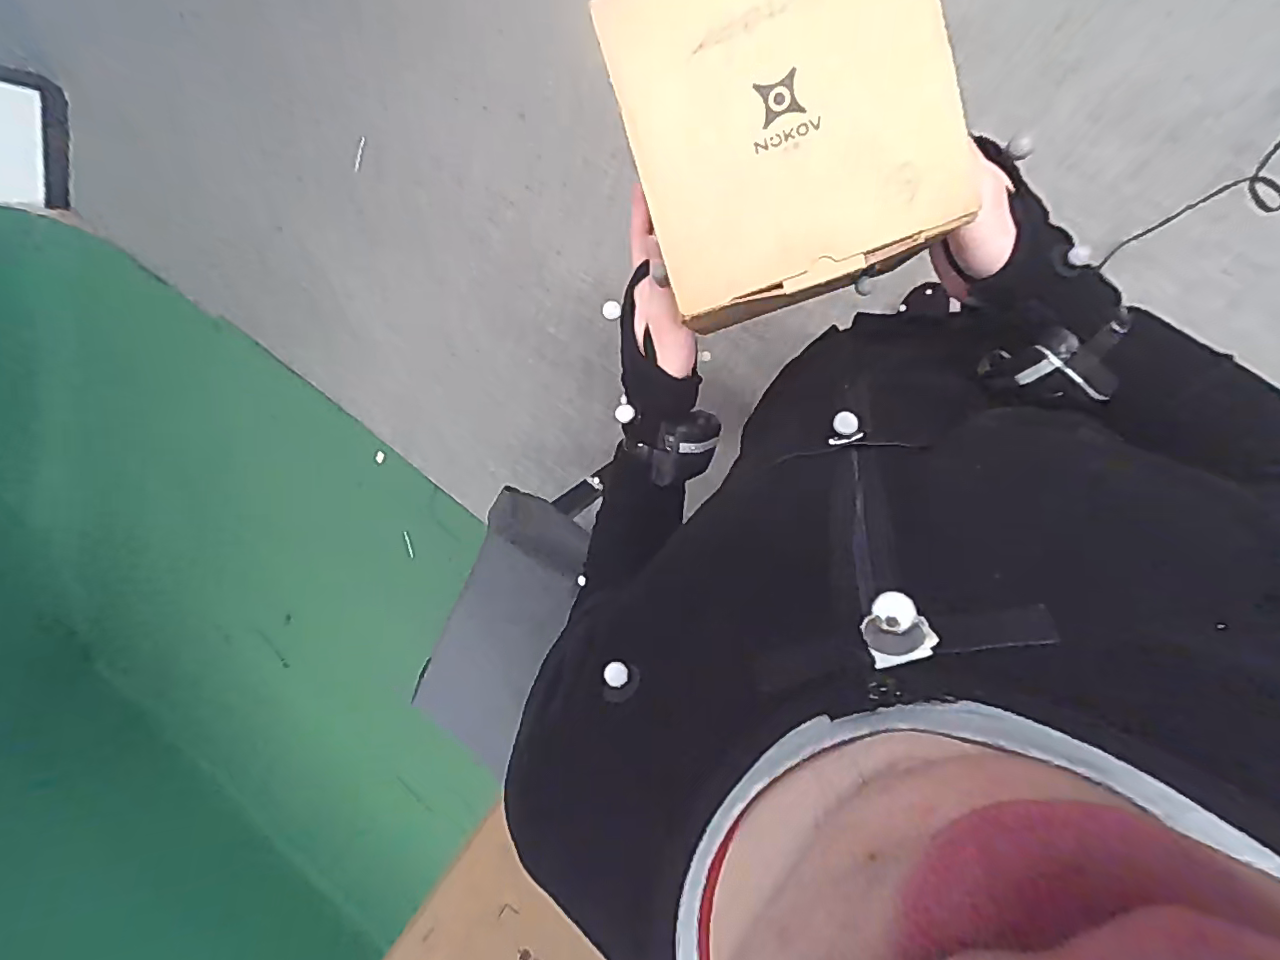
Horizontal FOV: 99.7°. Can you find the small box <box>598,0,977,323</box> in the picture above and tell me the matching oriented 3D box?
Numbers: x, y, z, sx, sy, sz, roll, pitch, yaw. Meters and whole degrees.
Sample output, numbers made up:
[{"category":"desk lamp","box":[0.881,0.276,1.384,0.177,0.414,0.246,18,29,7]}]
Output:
[{"category":"small box","box":[0.091,-0.214,0.366,0.168,0.176,0.179,-16,98,12]}]
